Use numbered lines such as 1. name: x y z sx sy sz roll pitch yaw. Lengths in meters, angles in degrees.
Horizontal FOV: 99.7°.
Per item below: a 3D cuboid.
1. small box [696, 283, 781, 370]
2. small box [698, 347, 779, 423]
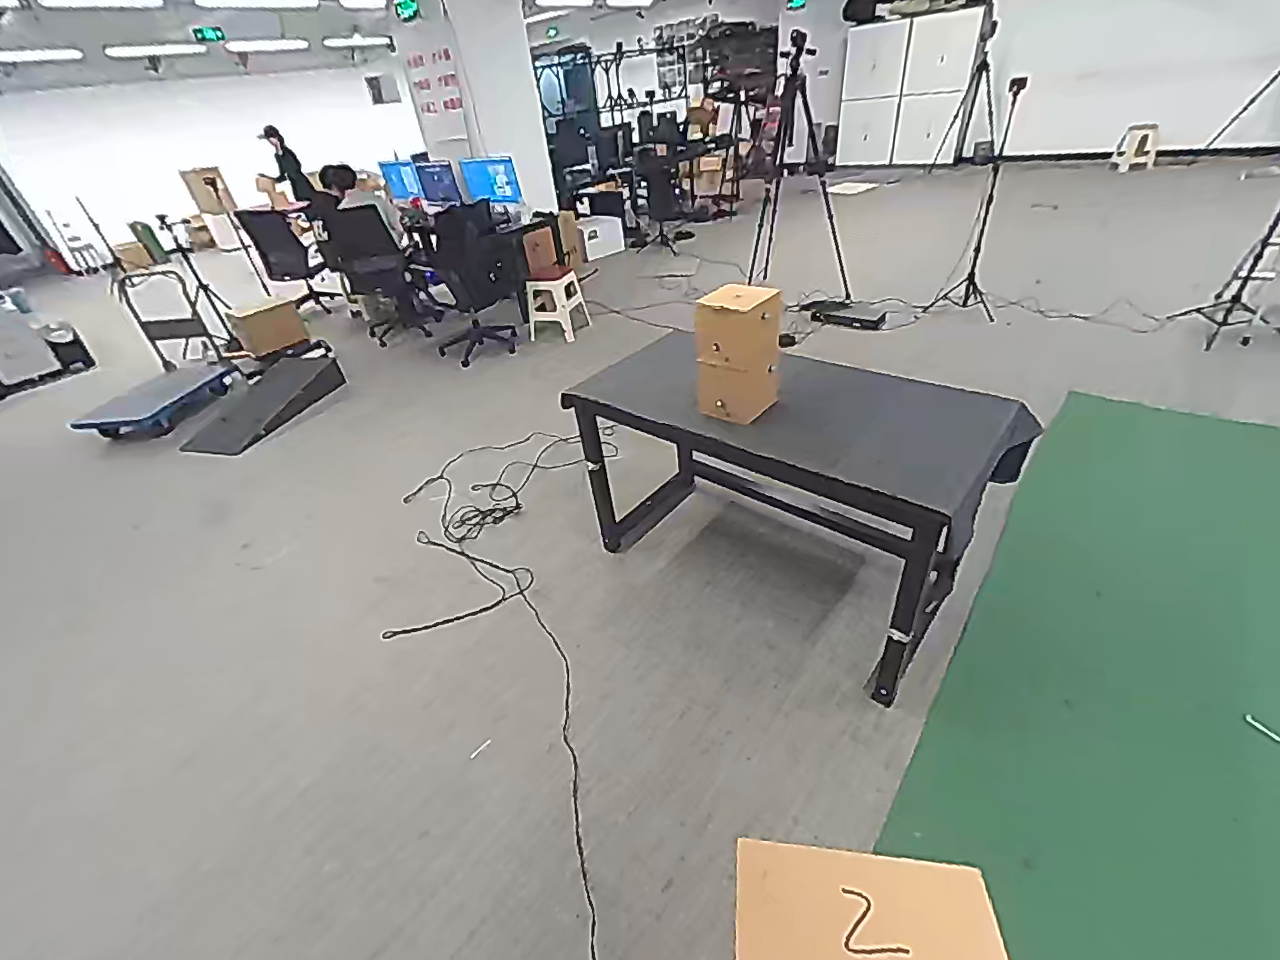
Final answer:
1. small box: 0.266 -0.421 1.471 0.168 0.176 0.179 22 45 35
2. small box: 0.283 -0.289 1.565 0.168 0.176 0.179 21 45 35
